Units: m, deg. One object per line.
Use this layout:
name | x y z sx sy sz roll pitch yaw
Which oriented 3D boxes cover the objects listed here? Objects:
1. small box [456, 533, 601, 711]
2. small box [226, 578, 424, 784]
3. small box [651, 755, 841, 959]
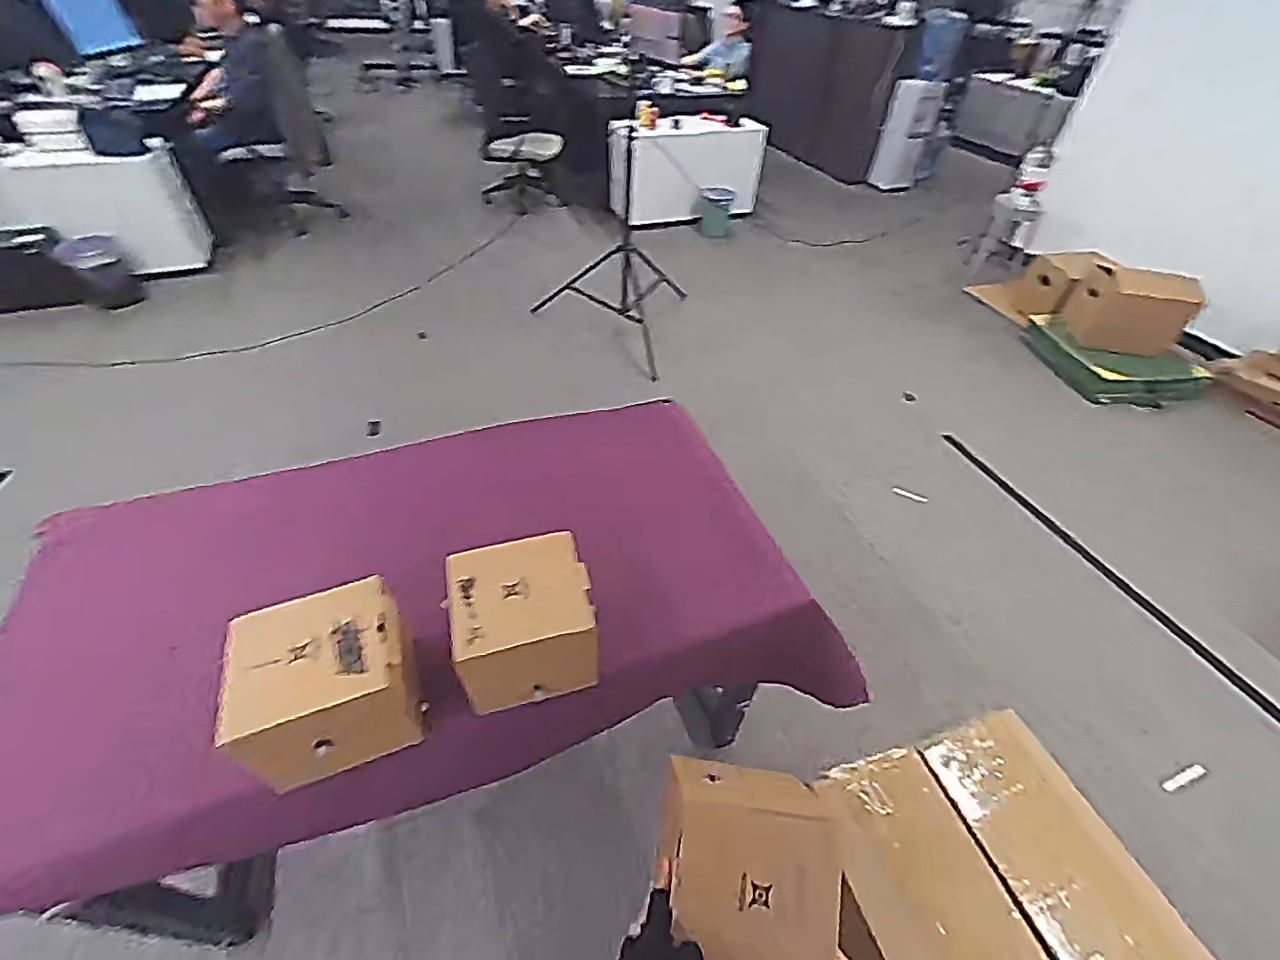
small box | -0.160 0.204 0.781 0.179 0.176 0.168 -10 45 -14
small box | -0.393 0.262 0.707 0.179 0.176 0.168 -15 47 -16
small box | 0.112 0.435 0.632 0.179 0.176 0.168 9 75 -2
